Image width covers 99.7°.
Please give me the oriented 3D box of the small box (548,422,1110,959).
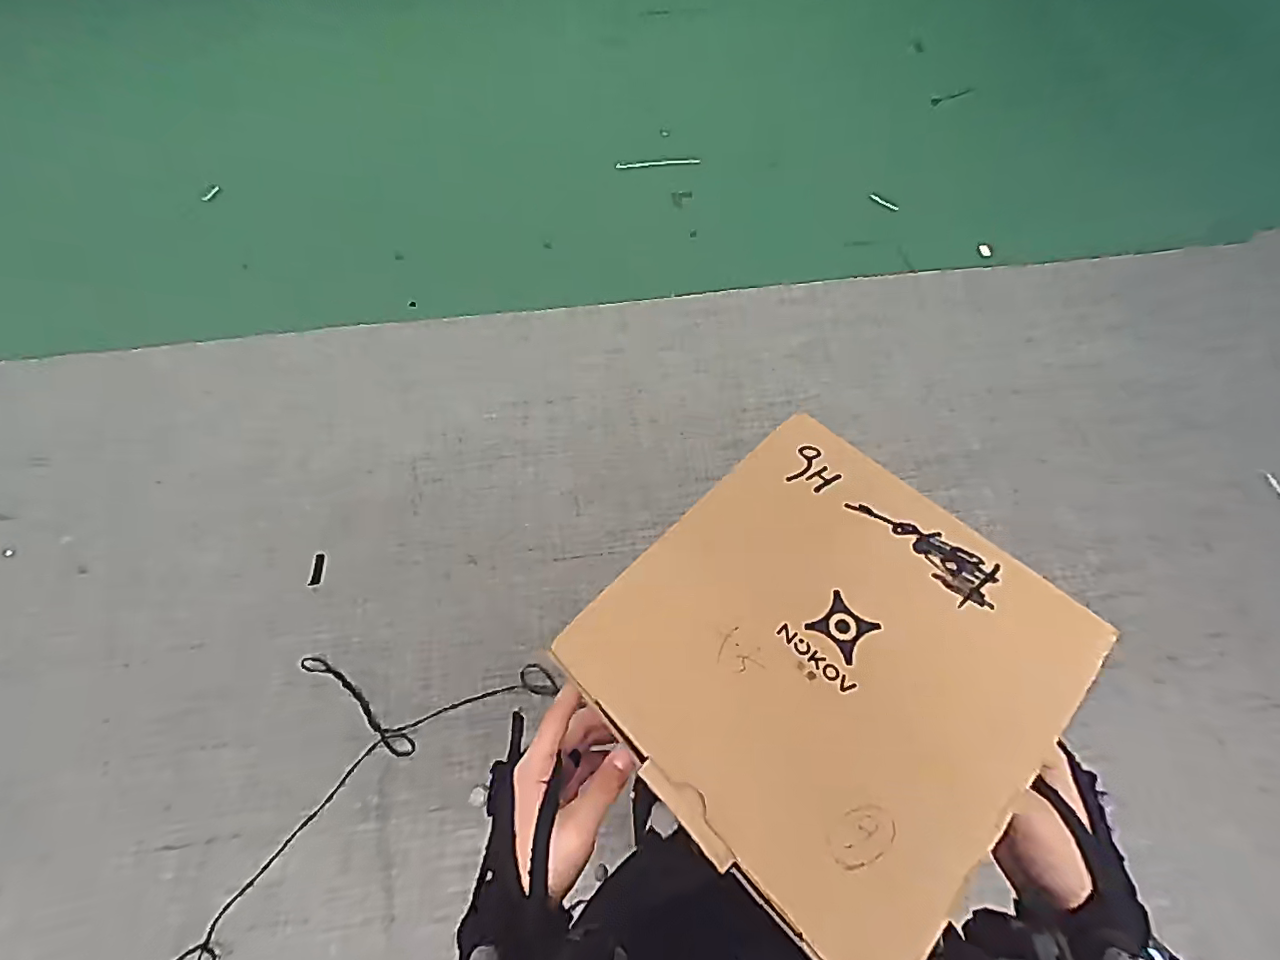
[{"bbox_3d":[0.082,0.110,0.296,0.179,0.176,0.168,-41,66,-17],"label":"small box"}]
